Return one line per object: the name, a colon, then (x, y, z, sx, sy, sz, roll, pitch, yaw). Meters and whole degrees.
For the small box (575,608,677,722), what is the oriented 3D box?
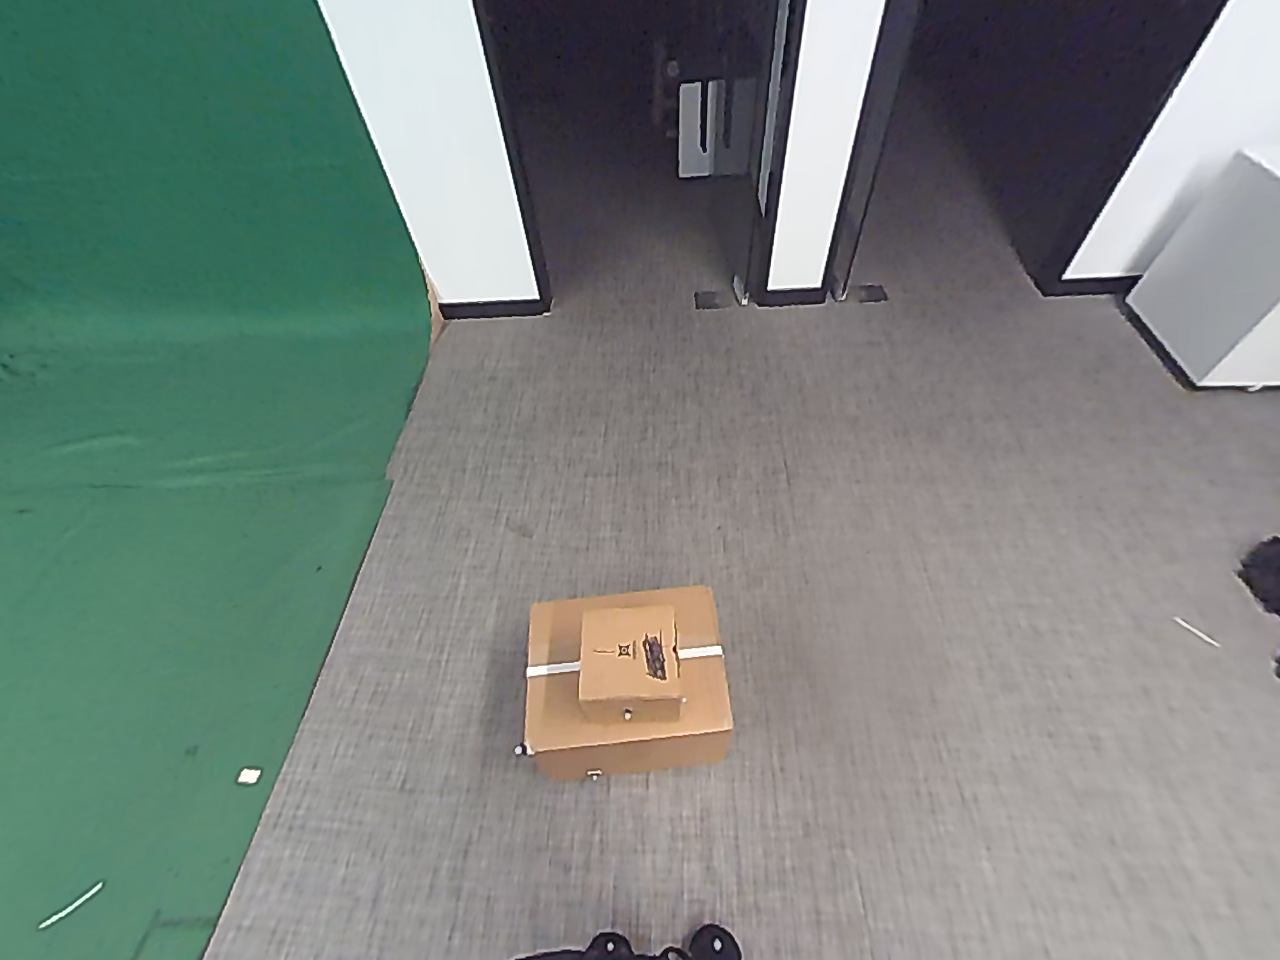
small box: (-0.022, 0.358, 1.038, 0.179, 0.176, 0.168, -3, 52, 2)
